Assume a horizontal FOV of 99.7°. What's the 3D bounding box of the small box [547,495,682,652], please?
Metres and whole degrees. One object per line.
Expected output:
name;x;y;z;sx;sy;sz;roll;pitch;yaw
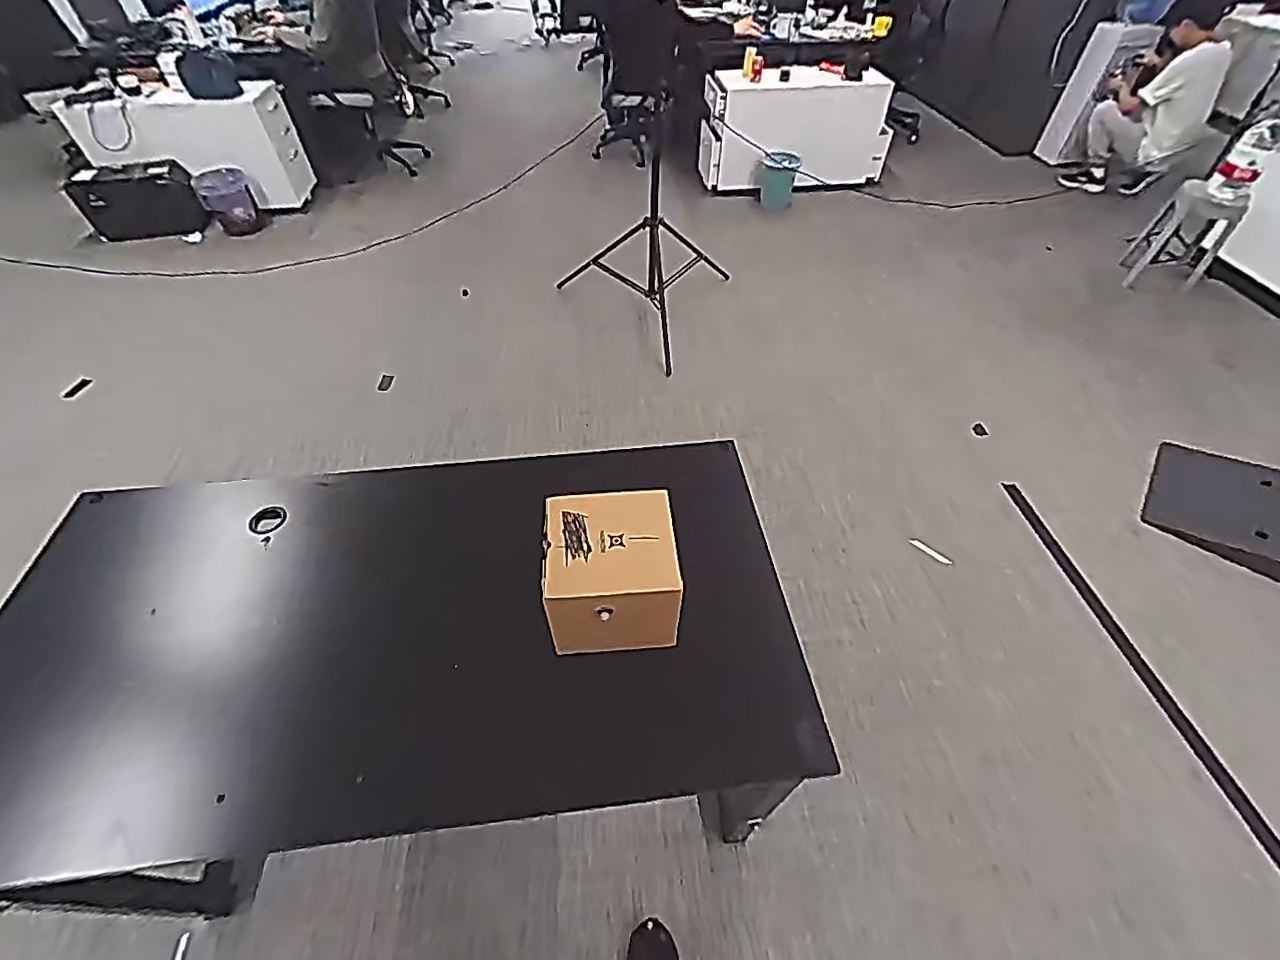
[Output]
small box;-0.037;0.141;0.796;0.179;0.176;0.168;-3;49;-3
